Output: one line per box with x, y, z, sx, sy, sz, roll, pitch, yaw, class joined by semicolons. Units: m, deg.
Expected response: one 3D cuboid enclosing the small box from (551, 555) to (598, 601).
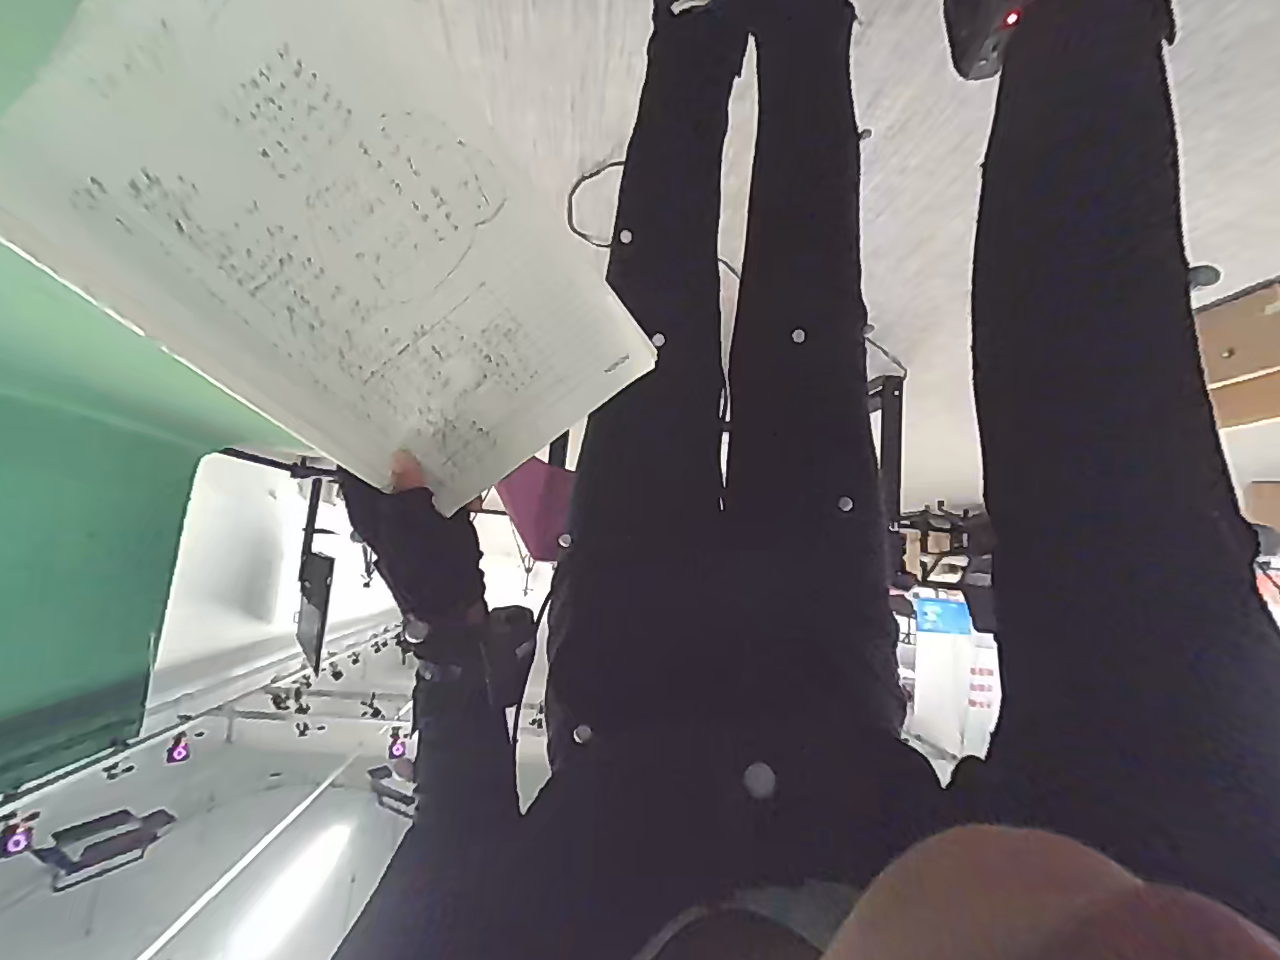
-0.225;0.362;1.959;0.168;0.176;0.179;6;173;-13;small box

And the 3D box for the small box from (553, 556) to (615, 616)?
-0.181;0.337;1.741;0.168;0.176;0.179;6;173;-16;small box
